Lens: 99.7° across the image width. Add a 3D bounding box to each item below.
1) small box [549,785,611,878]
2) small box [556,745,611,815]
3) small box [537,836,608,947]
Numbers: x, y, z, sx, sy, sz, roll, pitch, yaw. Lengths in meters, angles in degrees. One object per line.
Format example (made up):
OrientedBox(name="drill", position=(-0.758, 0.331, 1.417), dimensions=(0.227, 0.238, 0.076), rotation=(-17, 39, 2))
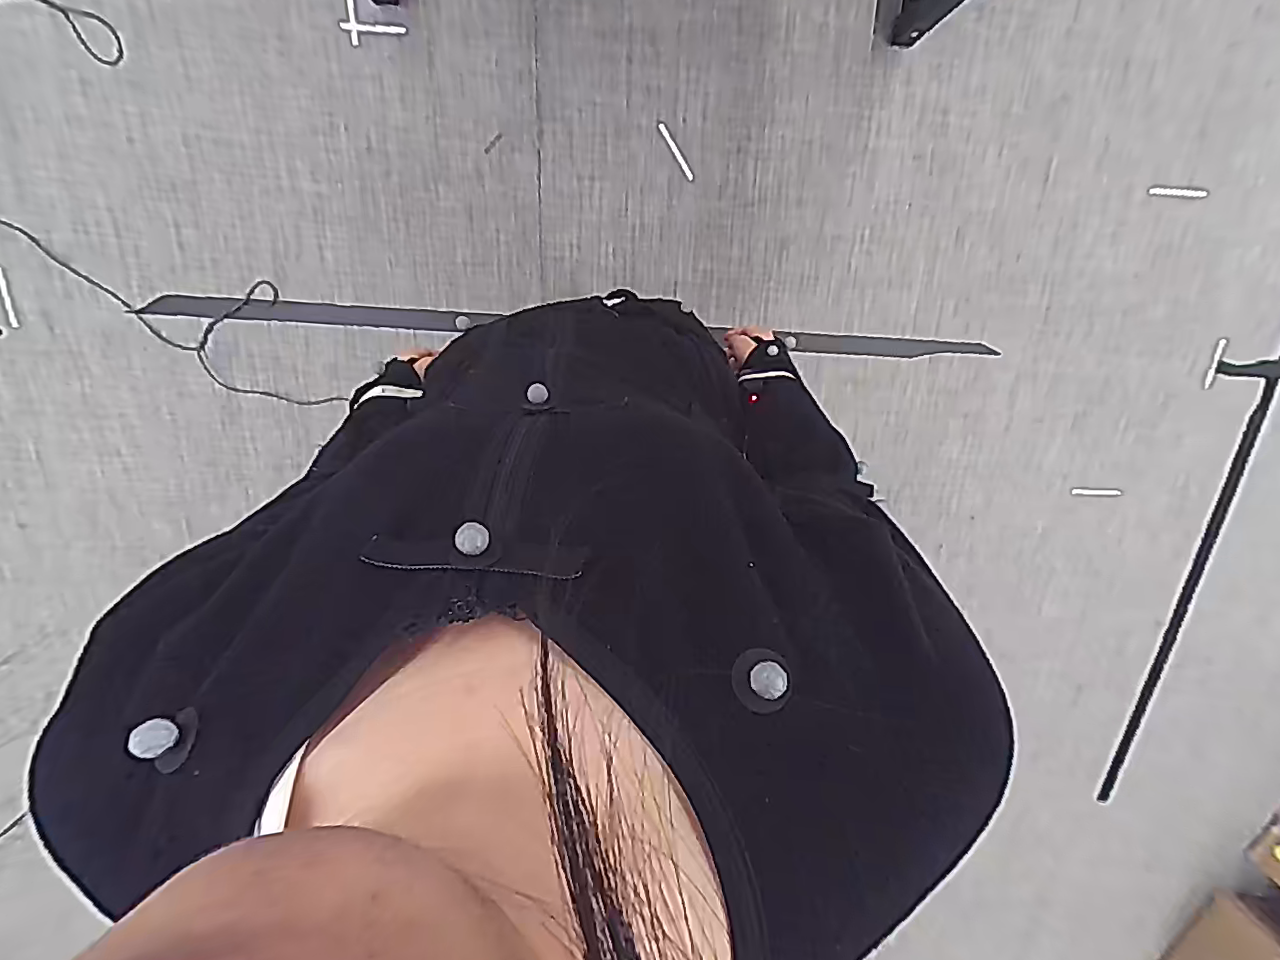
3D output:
OrientedBox(name="small box", position=(-0.171, 1.038, 1.595), dimensions=(0.168, 0.176, 0.179), rotation=(-4, 109, -2))
OrientedBox(name="small box", position=(-0.181, 0.983, 1.749), dimensions=(0.168, 0.176, 0.179), rotation=(-2, 108, -2))
OrientedBox(name="small box", position=(-0.173, 1.089, 1.438), dimensions=(0.168, 0.176, 0.179), rotation=(-3, 108, -2))
